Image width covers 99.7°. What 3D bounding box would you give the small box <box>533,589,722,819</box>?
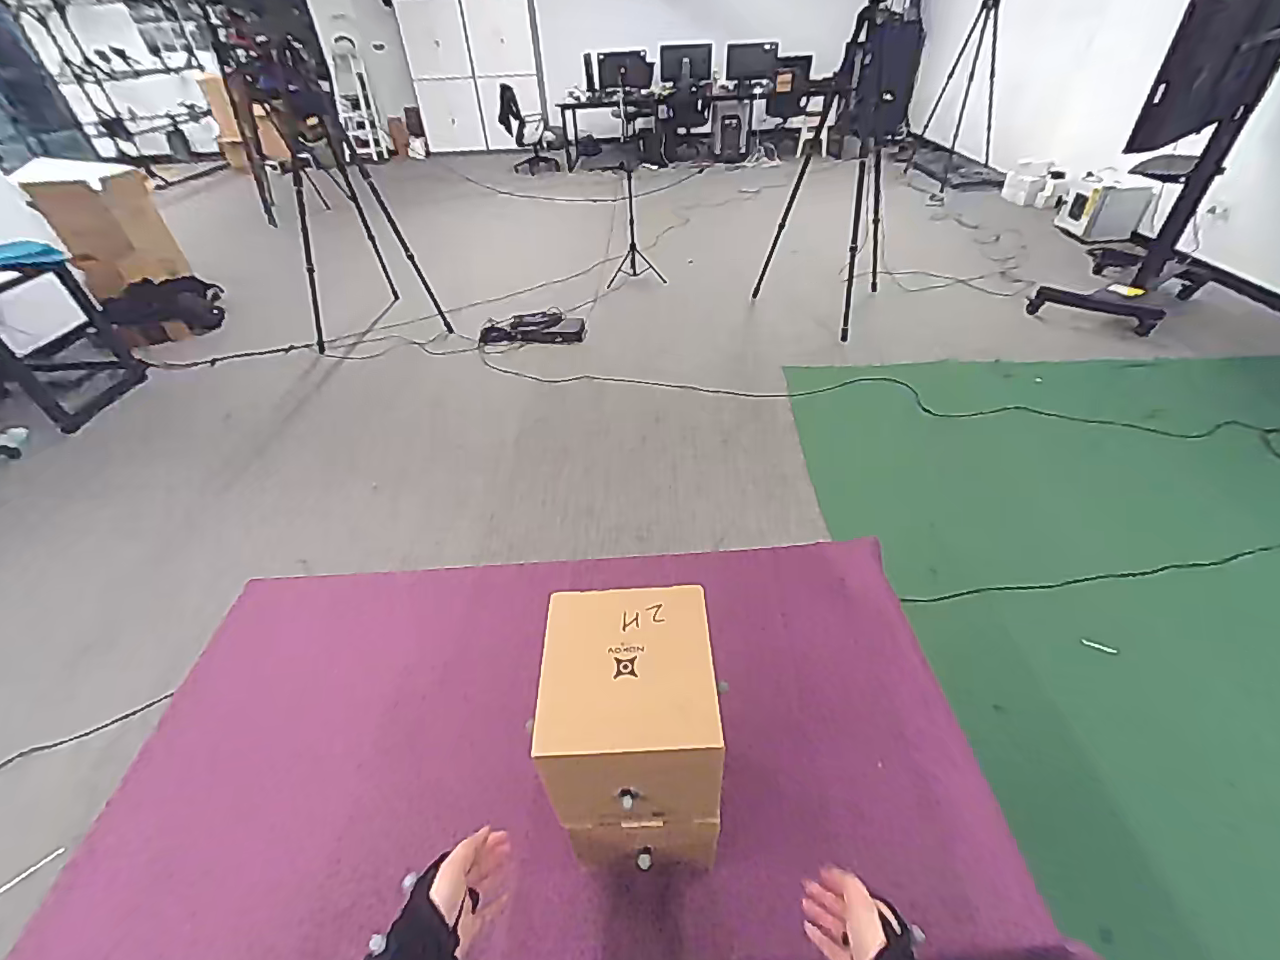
[{"bbox_3d":[-0.007,0.238,0.571,0.168,0.176,0.179,-2,40,1],"label":"small box"}]

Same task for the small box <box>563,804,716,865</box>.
[{"bbox_3d":[0.004,0.364,0.678,0.168,0.176,0.179,-2,41,1],"label":"small box"}]
